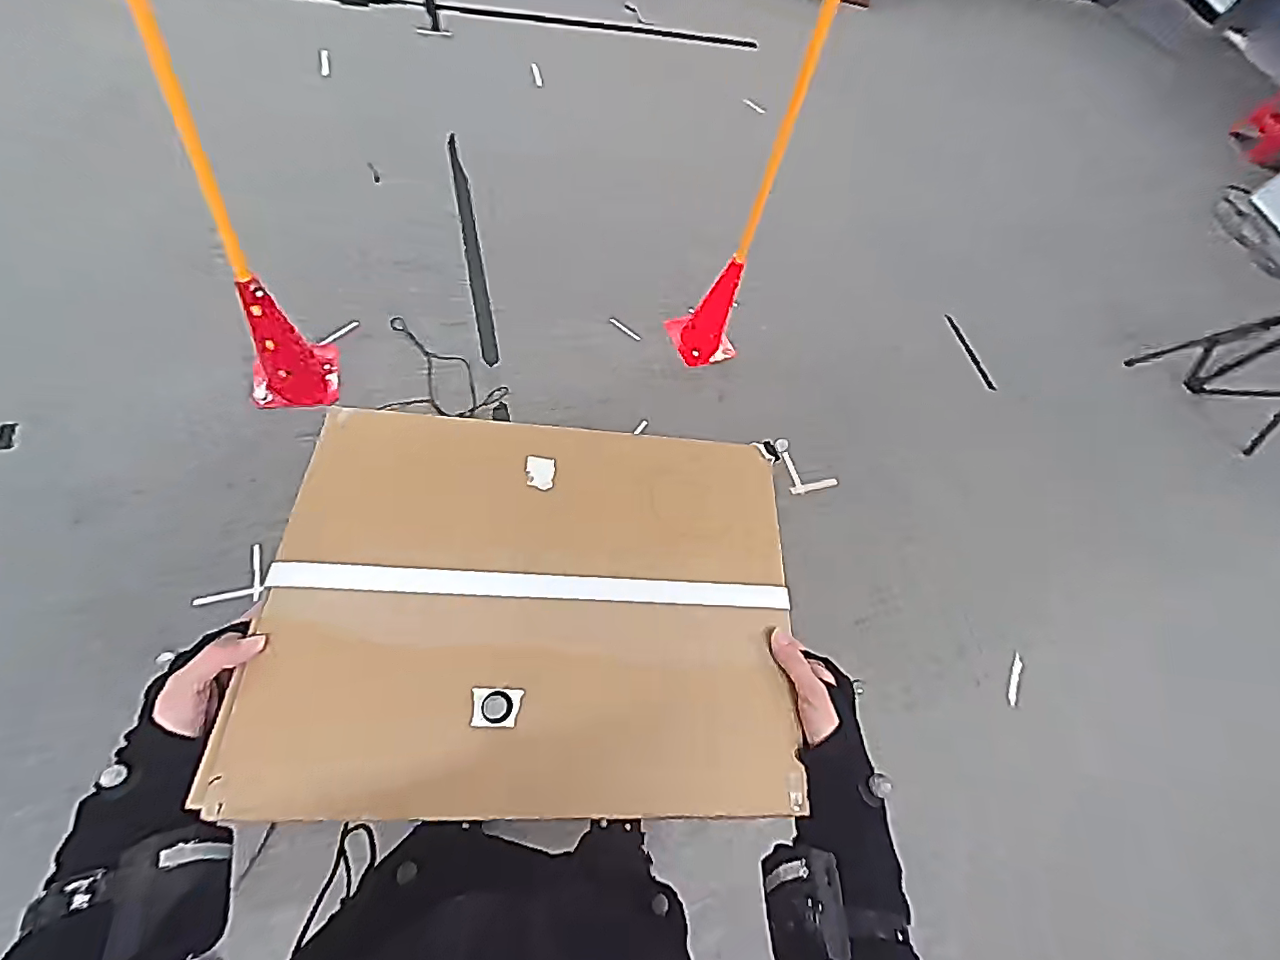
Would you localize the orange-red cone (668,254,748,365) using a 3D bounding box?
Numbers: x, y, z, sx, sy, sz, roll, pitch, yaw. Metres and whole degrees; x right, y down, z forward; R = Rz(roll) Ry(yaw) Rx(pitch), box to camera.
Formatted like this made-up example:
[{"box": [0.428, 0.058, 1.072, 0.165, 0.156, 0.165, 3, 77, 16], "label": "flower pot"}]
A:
[{"box": [0.250, -0.552, 1.680, 0.199, 0.360, 0.198, -17, 71, -22], "label": "orange-red cone"}]
